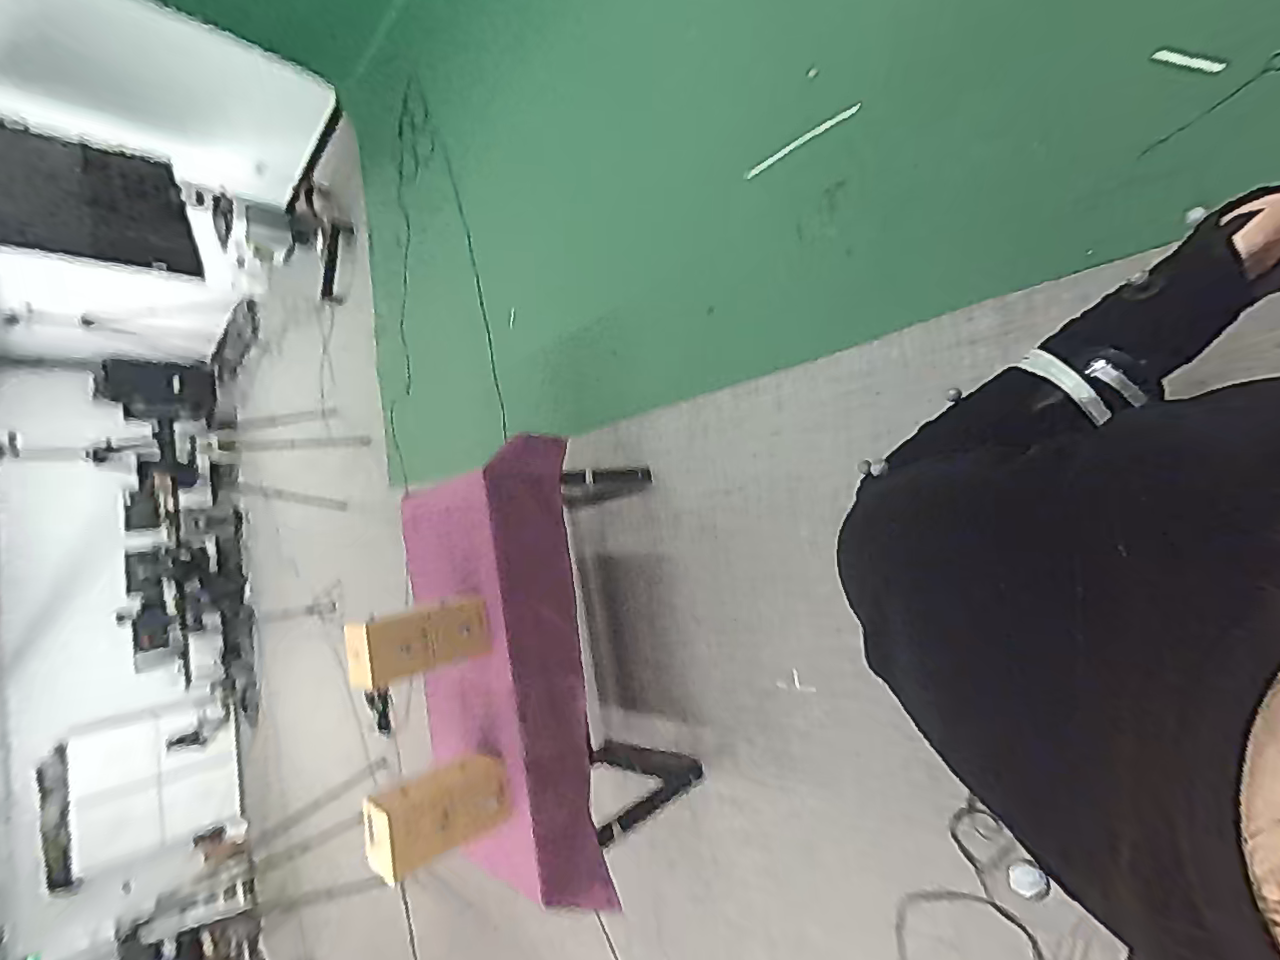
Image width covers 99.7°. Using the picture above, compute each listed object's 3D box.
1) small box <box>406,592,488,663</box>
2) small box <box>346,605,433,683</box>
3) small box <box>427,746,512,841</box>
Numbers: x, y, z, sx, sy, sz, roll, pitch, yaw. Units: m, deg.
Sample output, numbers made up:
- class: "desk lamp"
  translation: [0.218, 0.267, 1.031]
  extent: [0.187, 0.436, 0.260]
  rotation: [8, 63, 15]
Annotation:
- class: "small box"
  translation: [-0.562, 0.428, 1.593]
  extent: [0.179, 0.176, 0.168]
  rotation: [-13, 83, 43]
- class: "small box"
  translation: [-0.677, 0.440, 1.474]
  extent: [0.179, 0.176, 0.168]
  rotation: [-14, 83, 44]
- class: "small box"
  translation: [-0.489, 0.887, 1.552]
  extent: [0.179, 0.176, 0.168]
  rotation: [-11, 85, 43]
